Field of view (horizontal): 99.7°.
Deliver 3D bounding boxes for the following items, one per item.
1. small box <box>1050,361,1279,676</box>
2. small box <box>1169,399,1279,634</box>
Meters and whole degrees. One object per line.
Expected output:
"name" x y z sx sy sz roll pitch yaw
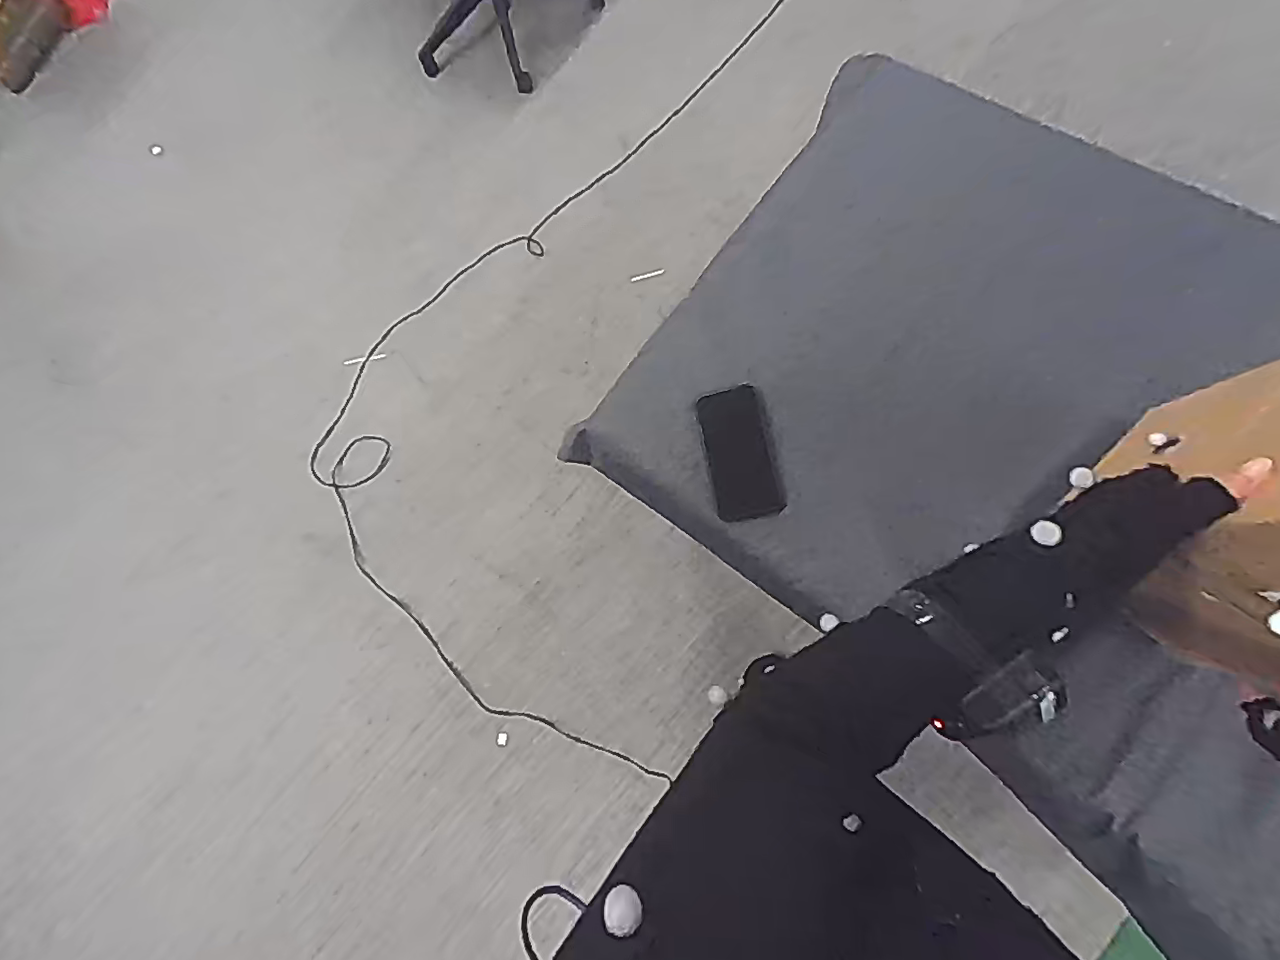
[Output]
"small box" 0.476 0.037 0.425 0.168 0.176 0.179 44 90 15
"small box" 0.443 0.015 0.268 0.168 0.176 0.179 43 92 15
